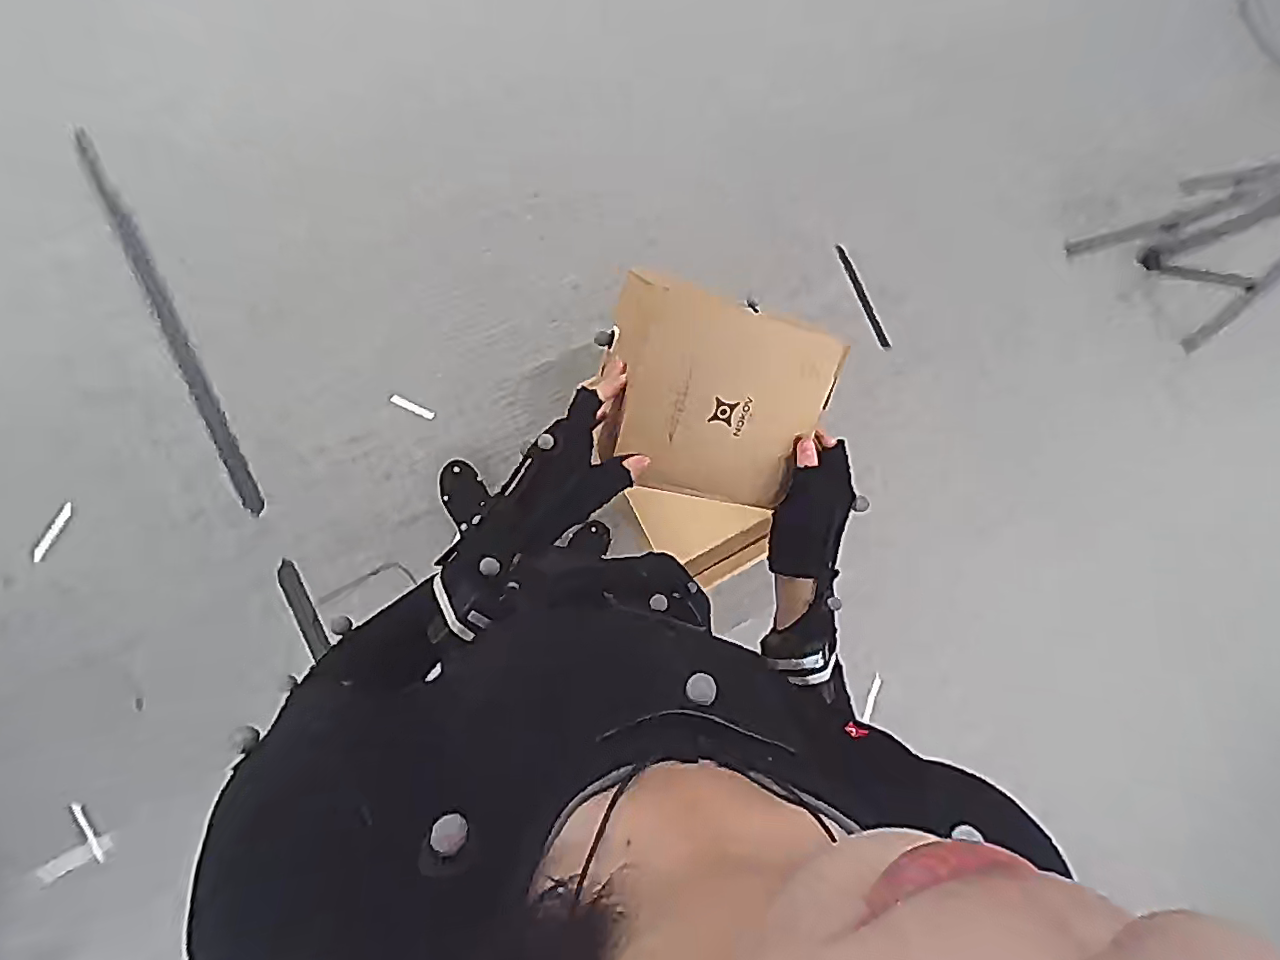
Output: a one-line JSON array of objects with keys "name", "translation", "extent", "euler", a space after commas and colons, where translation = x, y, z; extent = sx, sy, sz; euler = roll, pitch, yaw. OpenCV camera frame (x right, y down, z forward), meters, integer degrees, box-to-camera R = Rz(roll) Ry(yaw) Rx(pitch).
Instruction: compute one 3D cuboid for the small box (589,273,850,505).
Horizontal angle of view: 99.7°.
[{"name": "small box", "translation": [0.058, -0.095, 0.524], "extent": [0.179, 0.176, 0.168], "euler": [10, 111, -16]}]
